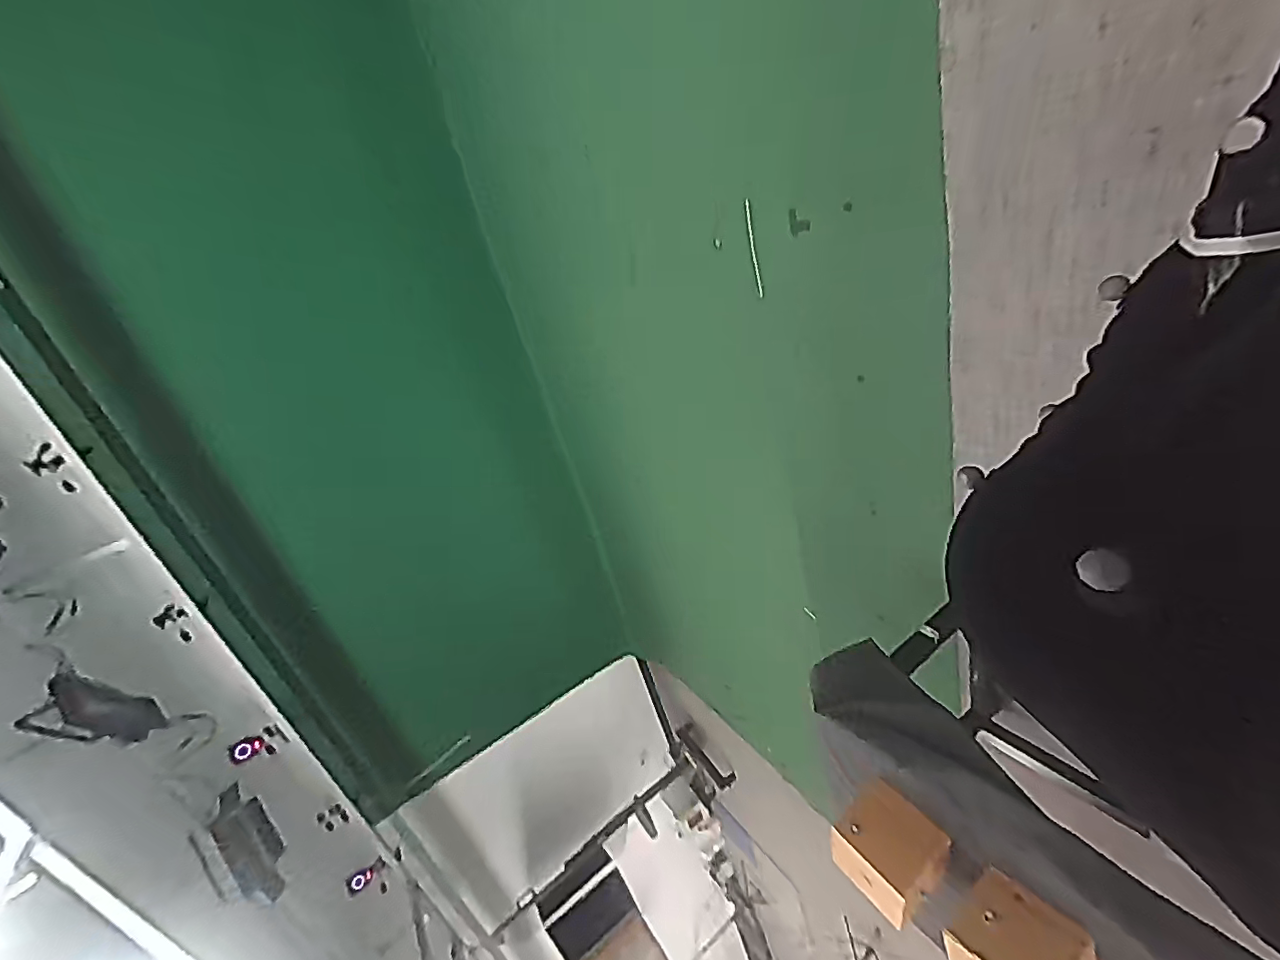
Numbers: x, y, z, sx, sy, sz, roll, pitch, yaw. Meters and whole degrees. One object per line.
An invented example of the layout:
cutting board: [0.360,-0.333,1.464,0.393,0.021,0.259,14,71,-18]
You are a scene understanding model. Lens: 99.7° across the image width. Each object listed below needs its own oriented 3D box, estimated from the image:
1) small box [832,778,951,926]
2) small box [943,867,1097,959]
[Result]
small box: [0.546,0.802,1.181,0.179,0.176,0.168,32,143,49]
small box: [0.681,0.854,0.965,0.168,0.176,0.179,15,130,61]
